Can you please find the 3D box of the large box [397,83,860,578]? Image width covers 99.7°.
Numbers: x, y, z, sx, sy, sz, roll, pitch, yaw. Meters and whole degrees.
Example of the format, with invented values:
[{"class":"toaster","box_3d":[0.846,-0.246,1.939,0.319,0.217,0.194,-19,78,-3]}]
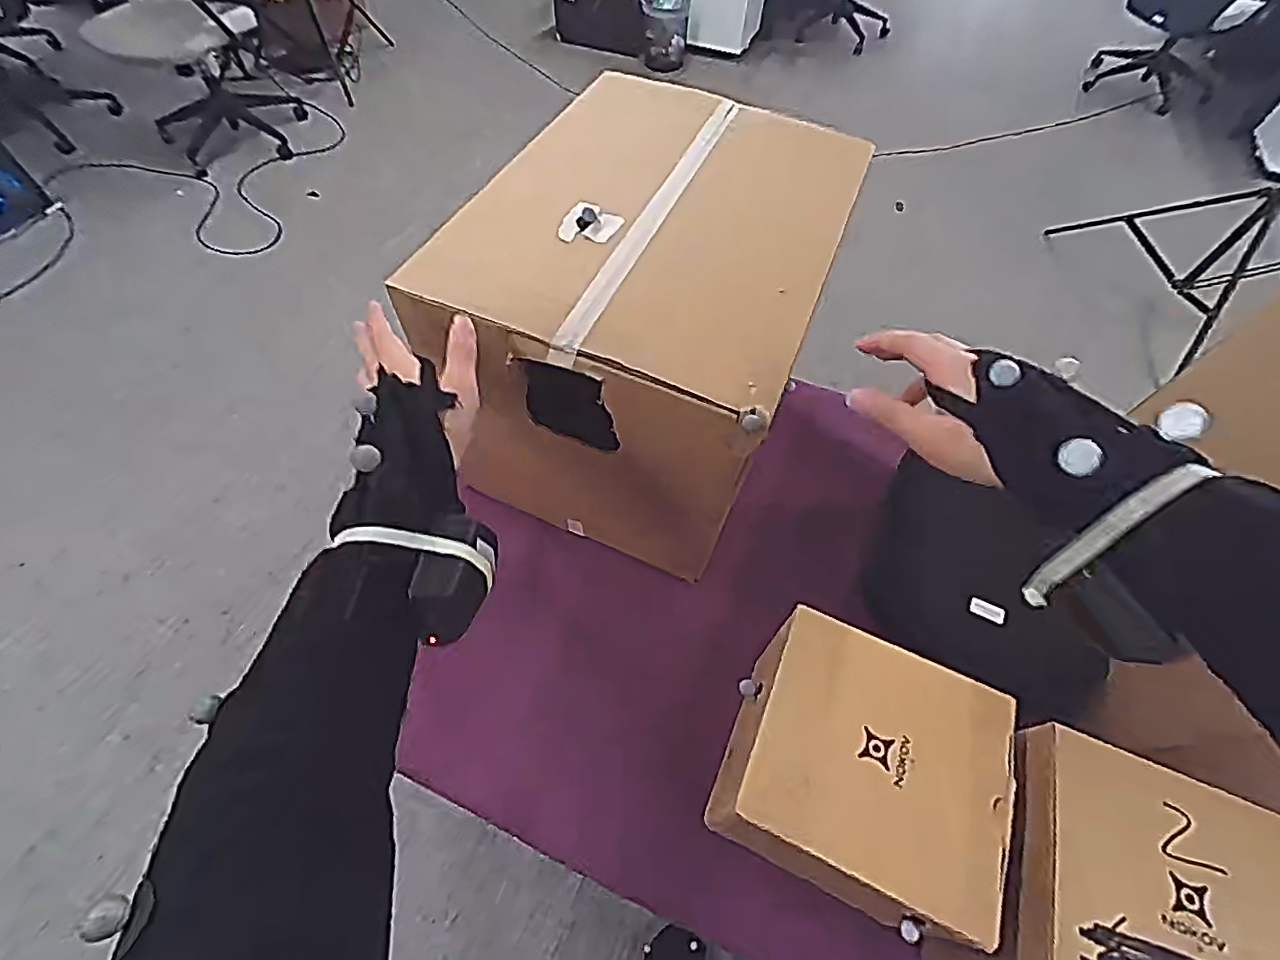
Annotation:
[{"class":"large box","box_3d":[0.011,-0.163,0.623,0.320,0.320,0.408,21,61,9]}]
